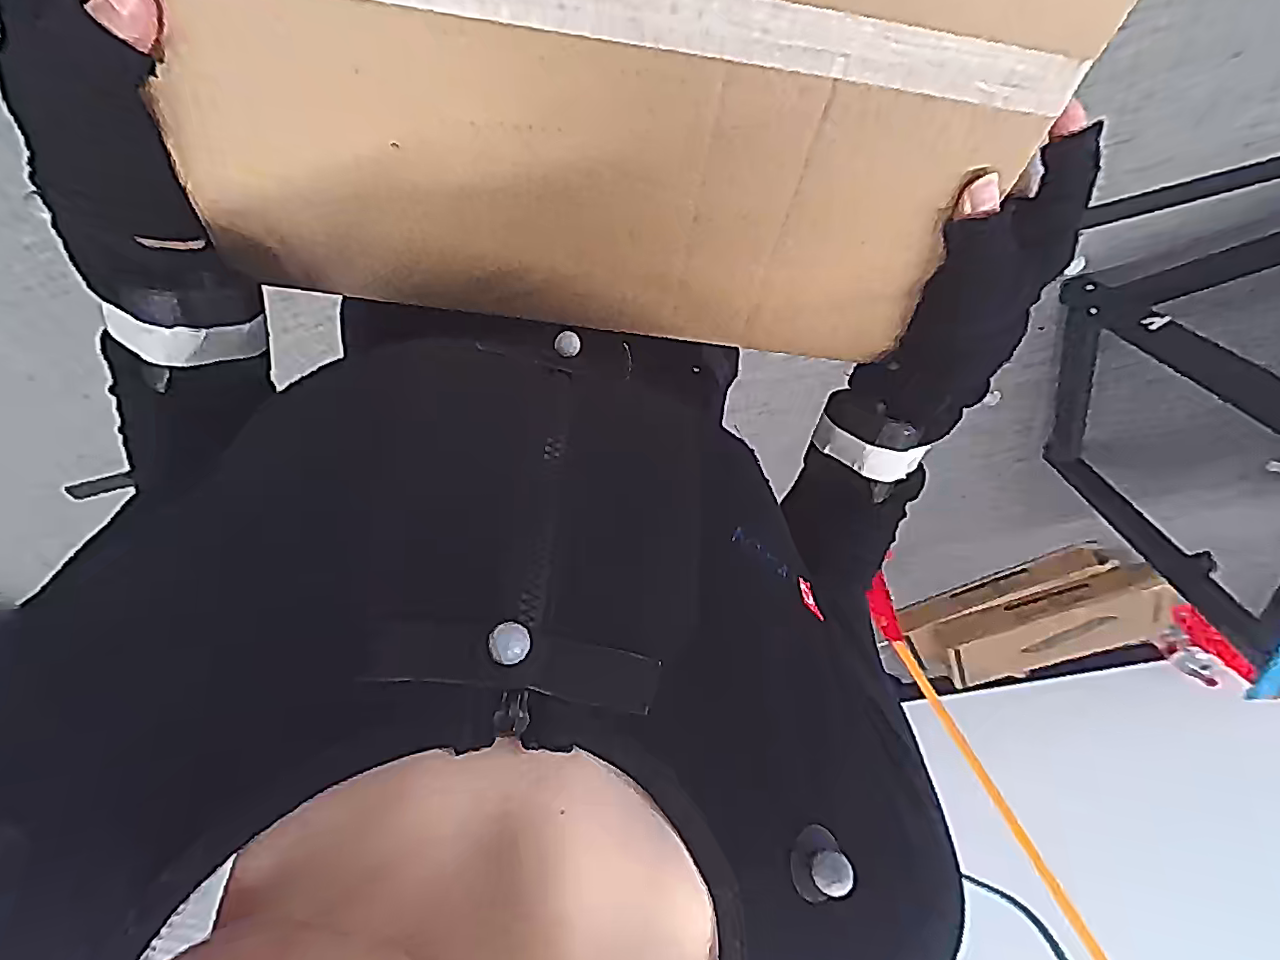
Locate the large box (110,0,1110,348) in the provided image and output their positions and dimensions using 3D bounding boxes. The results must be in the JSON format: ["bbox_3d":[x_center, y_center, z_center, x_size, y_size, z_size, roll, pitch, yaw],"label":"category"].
[{"bbox_3d":[-0.014,-0.313,0.307,0.408,0.320,0.320,6,145,-5],"label":"large box"}]
